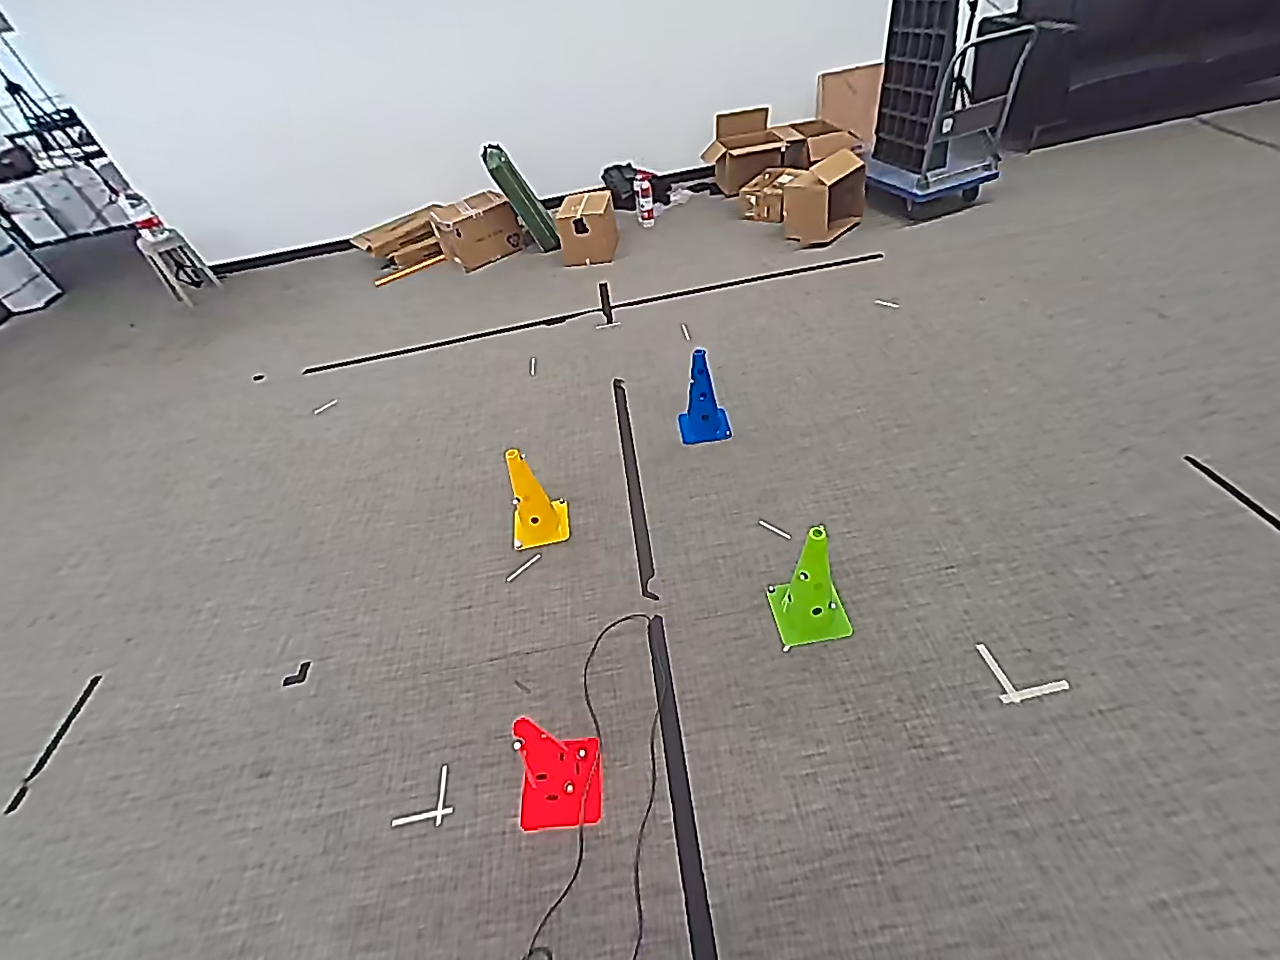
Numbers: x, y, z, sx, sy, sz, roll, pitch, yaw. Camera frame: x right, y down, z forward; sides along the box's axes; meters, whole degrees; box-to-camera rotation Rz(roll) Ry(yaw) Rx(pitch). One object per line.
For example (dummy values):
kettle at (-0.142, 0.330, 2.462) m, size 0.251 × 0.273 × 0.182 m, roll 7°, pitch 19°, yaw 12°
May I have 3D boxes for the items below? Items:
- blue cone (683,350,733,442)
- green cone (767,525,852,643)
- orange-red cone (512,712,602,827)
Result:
blue cone at (0.256, -0.340, 2.126) m, size 0.192 × 0.380 × 0.193 m, roll -7°, pitch 44°, yaw 3°
green cone at (0.468, 0.256, 1.458) m, size 0.202 × 0.368 × 0.200 m, roll -9°, pitch 44°, yaw 0°
orange-red cone at (-0.222, 0.623, 1.230) m, size 0.199 × 0.360 × 0.198 m, roll -8°, pitch 43°, yaw 5°
